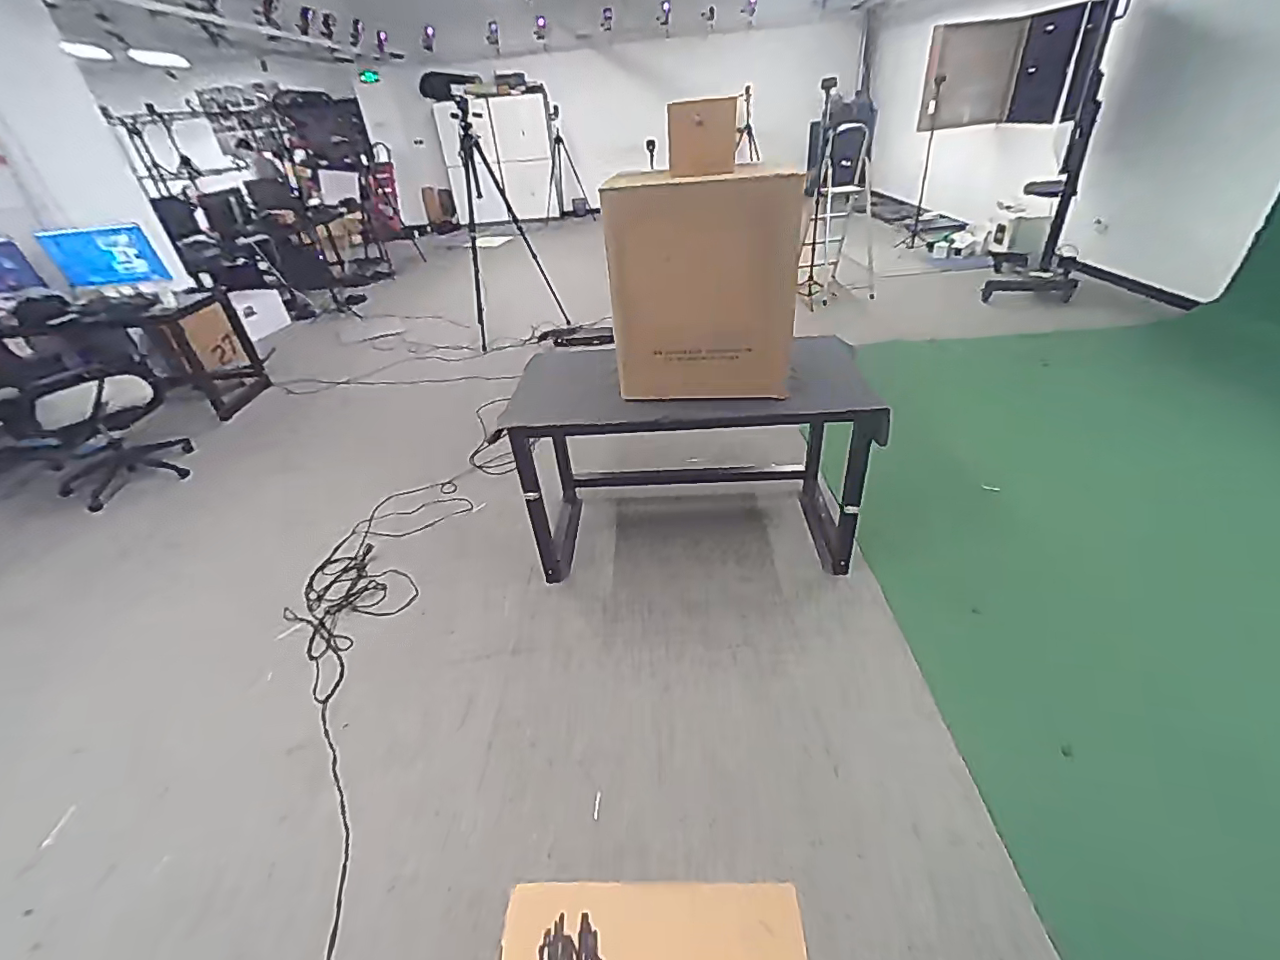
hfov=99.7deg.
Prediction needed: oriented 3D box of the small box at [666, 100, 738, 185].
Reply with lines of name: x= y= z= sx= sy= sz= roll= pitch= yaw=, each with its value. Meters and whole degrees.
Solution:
small box: x=0.169 y=-0.897 z=1.439 sx=0.179 sy=0.176 sz=0.168 roll=1 pitch=37 yaw=10
